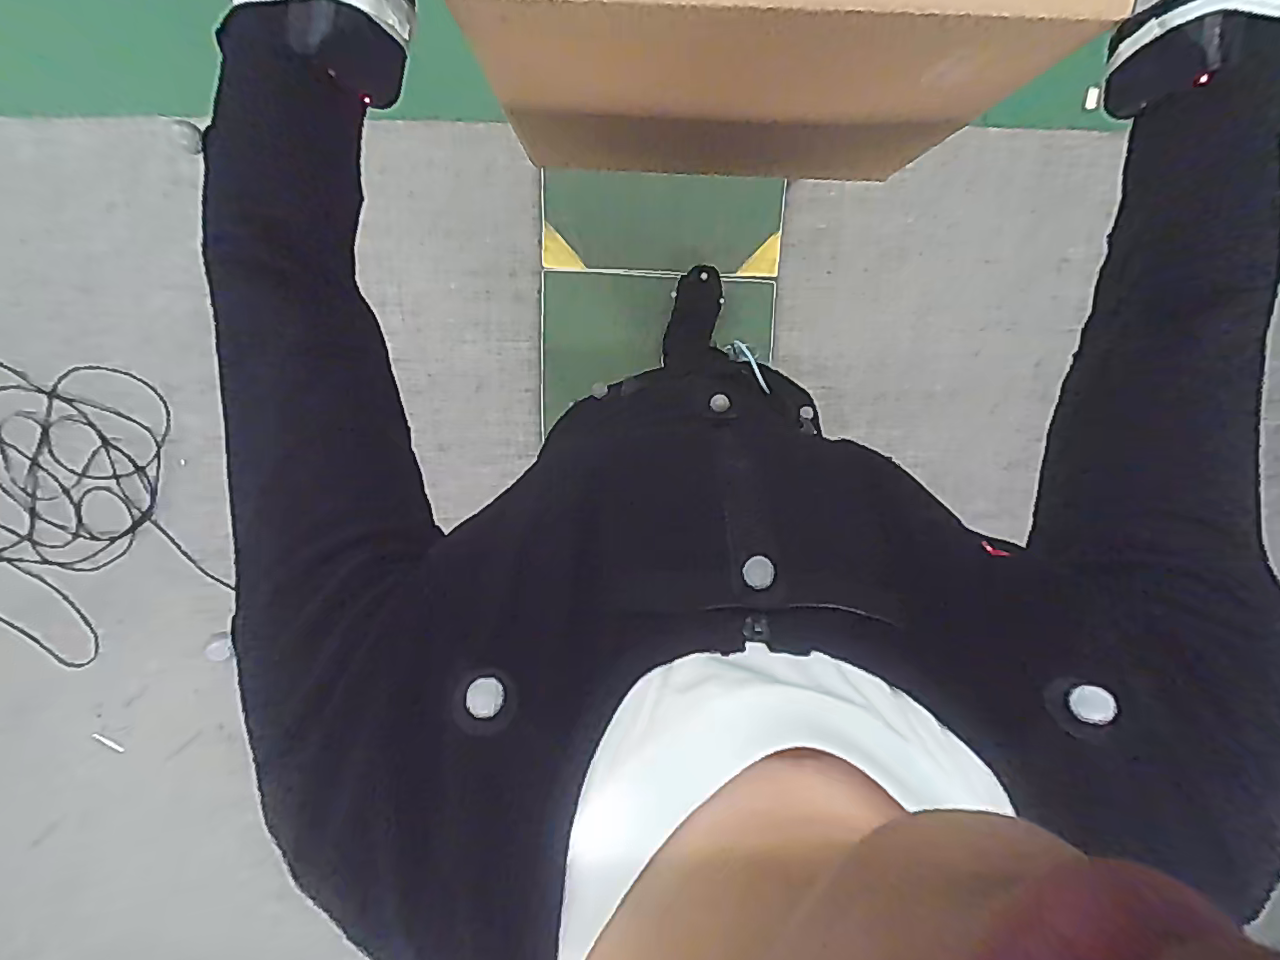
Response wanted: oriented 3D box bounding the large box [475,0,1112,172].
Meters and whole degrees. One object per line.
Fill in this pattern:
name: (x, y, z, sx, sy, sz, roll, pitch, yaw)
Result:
large box: (0.088, -0.467, 0.439, 0.408, 0.320, 0.320, 0, 104, -2)
